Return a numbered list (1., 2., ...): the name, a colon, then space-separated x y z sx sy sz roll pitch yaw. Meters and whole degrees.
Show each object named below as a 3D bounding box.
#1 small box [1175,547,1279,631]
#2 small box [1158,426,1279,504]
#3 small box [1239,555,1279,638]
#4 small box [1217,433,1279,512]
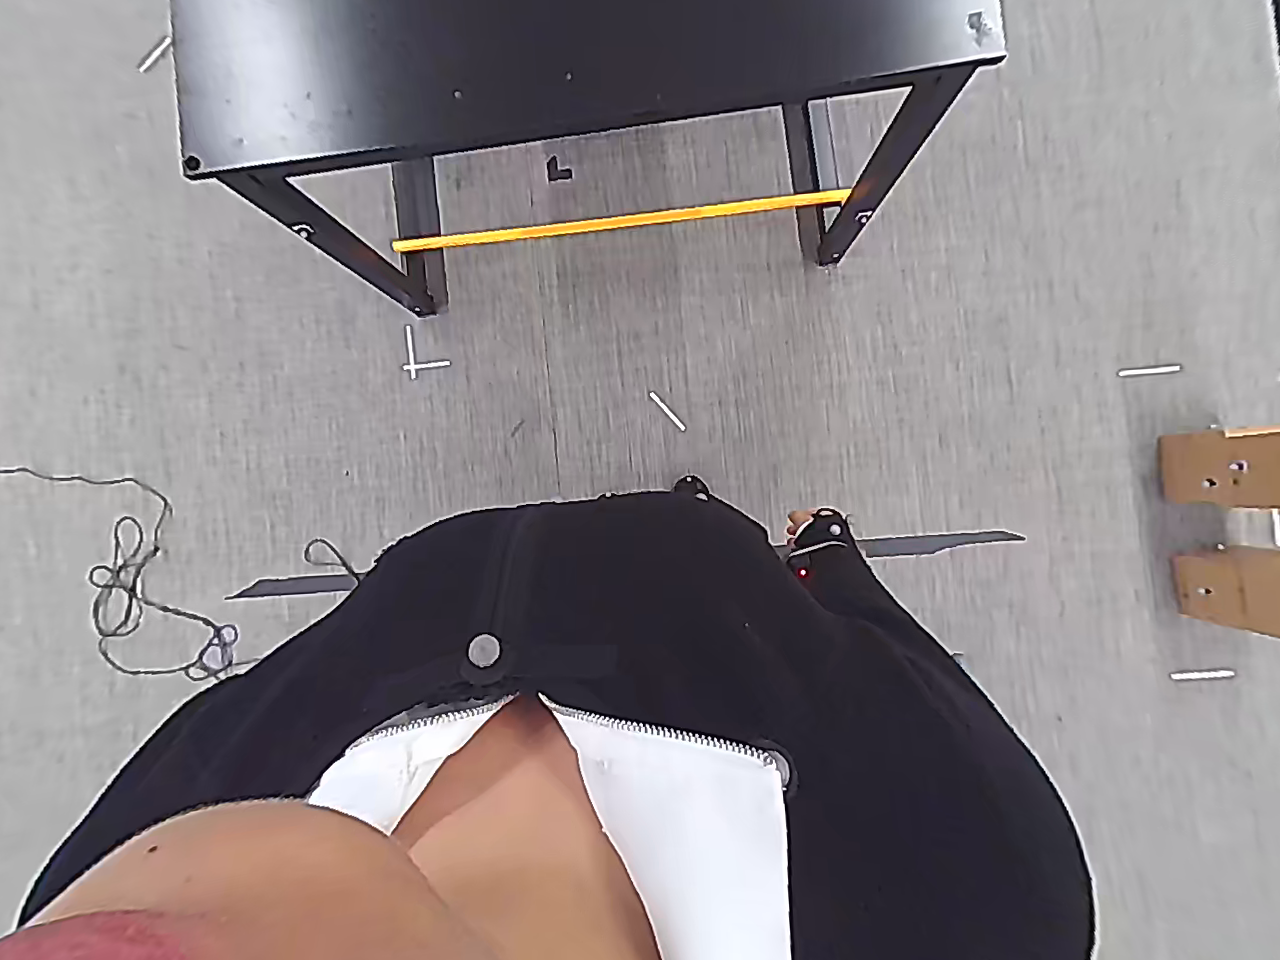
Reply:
1. small box: 1.471 0.261 1.324 0.179 0.176 0.168 -8 89 4
2. small box: 1.433 -0.035 1.327 0.168 0.176 0.179 -4 89 3
3. small box: 1.457 0.253 1.159 0.168 0.176 0.179 -8 90 3
4. small box: 1.421 -0.020 1.165 0.179 0.176 0.168 -4 88 5
